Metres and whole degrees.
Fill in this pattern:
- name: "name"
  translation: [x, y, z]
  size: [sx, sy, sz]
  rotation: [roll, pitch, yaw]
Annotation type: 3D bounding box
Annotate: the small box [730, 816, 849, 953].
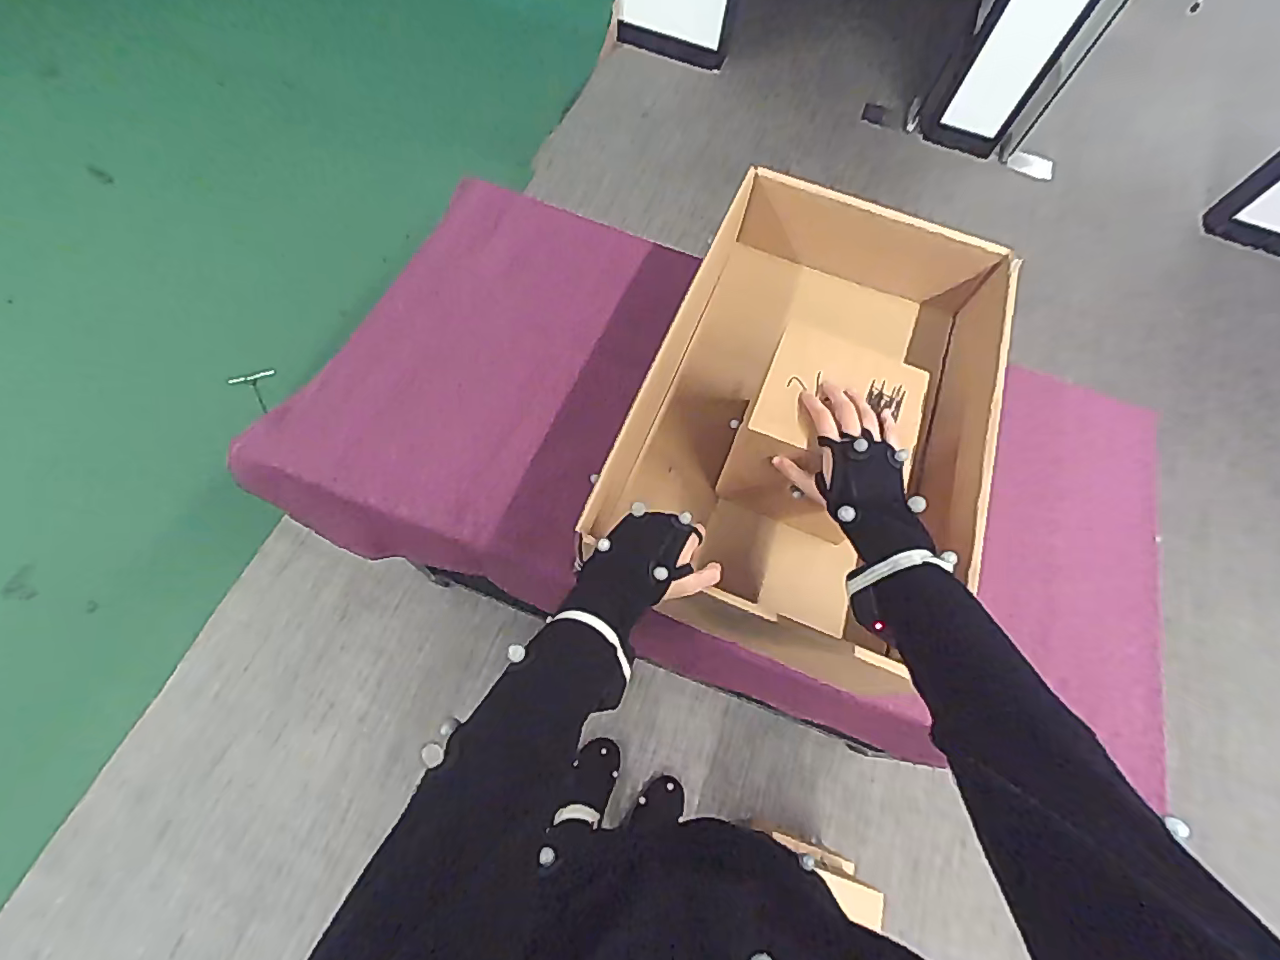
- name: "small box"
  translation: [0.309, 0.836, 1.139]
  size: [0.179, 0.176, 0.168]
  rotation: [20, 66, 4]
